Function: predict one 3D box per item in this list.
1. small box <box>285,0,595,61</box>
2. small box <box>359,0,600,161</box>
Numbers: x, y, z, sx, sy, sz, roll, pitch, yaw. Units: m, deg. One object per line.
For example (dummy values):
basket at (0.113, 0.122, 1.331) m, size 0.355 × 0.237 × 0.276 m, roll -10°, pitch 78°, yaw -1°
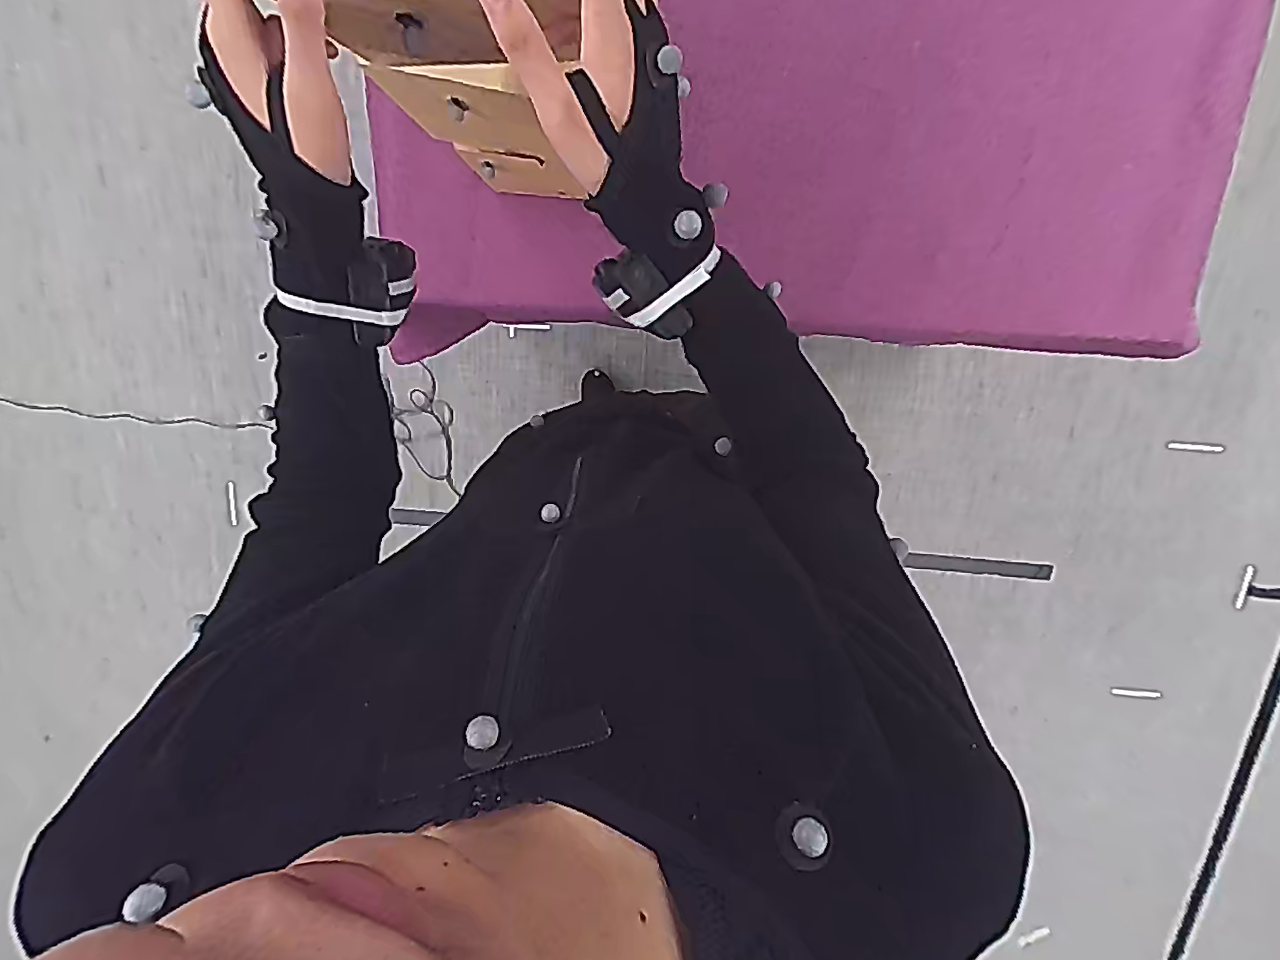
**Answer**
small box at (-0.115, -0.357, 0.299) m, size 0.168 × 0.176 × 0.179 m, roll -2°, pitch 113°, yaw -1°
small box at (-0.144, -0.444, 0.536) m, size 0.179 × 0.176 × 0.168 m, roll 11°, pitch 103°, yaw -1°
